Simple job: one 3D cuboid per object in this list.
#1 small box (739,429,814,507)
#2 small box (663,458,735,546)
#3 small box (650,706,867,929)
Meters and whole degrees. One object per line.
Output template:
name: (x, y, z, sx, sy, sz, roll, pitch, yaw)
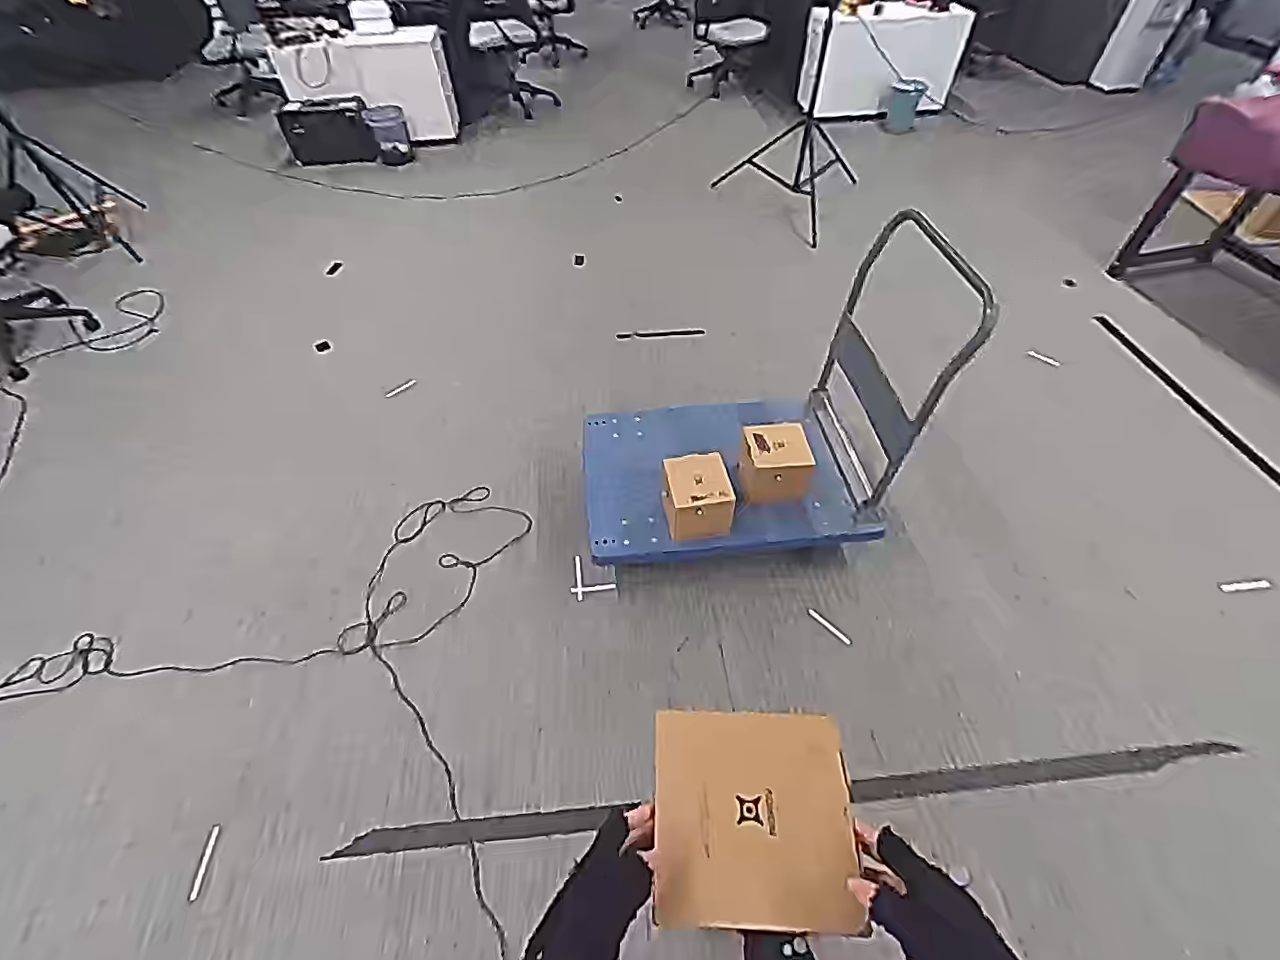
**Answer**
small box: (0.395, -0.033, 1.607, 0.179, 0.176, 0.168, -3, 50, -2)
small box: (0.160, 0.062, 1.532, 0.168, 0.176, 0.179, -8, 49, -5)
small box: (0.100, 0.339, 0.543, 0.179, 0.176, 0.168, 0, 51, 3)
